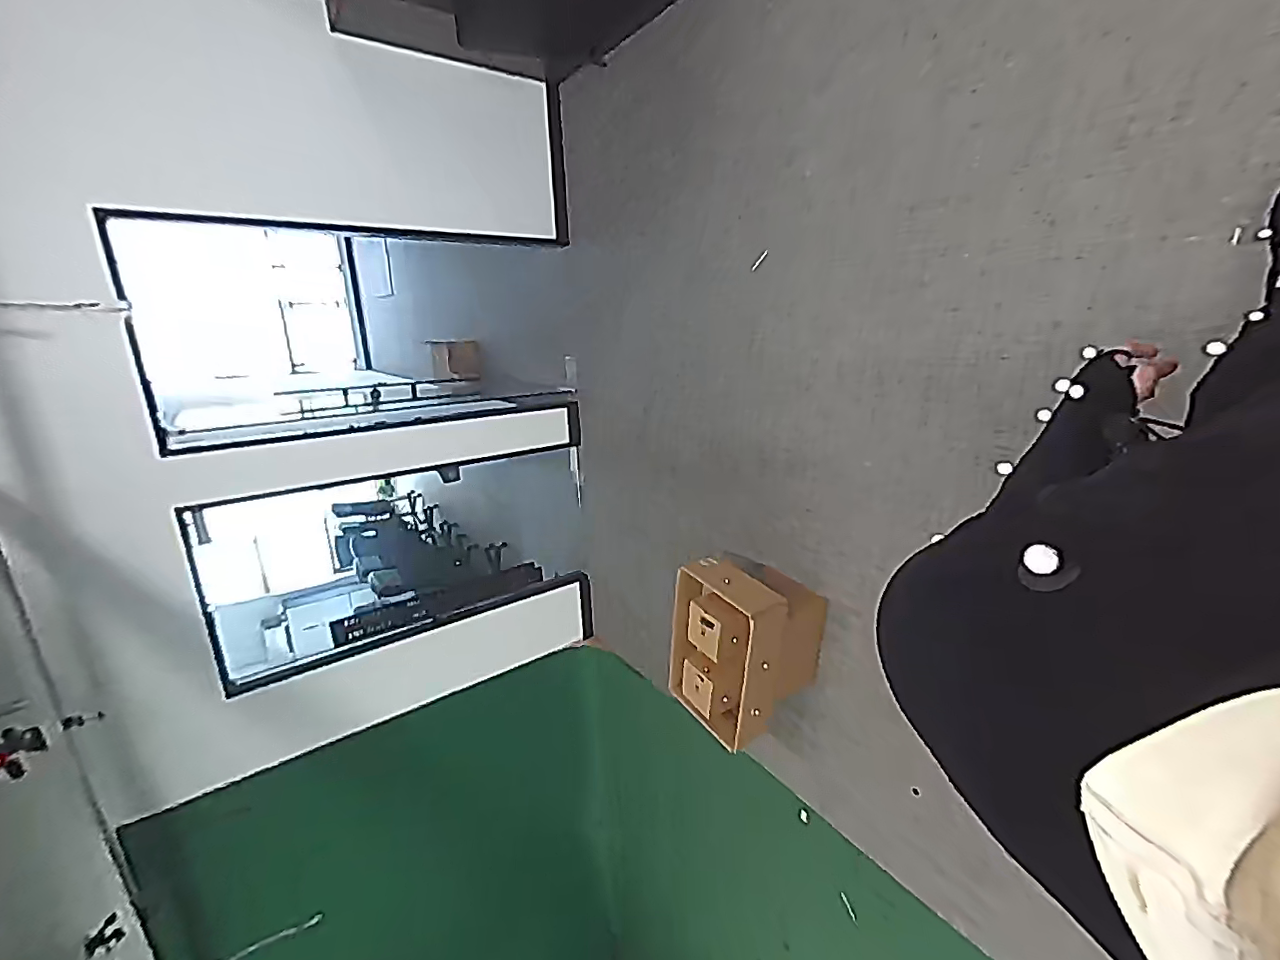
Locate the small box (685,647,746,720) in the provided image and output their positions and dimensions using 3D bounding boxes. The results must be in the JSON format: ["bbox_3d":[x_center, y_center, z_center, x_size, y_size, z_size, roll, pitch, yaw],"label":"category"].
[{"bbox_3d":[0.294,0.786,2.104,0.168,0.176,0.179,30,125,49],"label":"small box"}]
